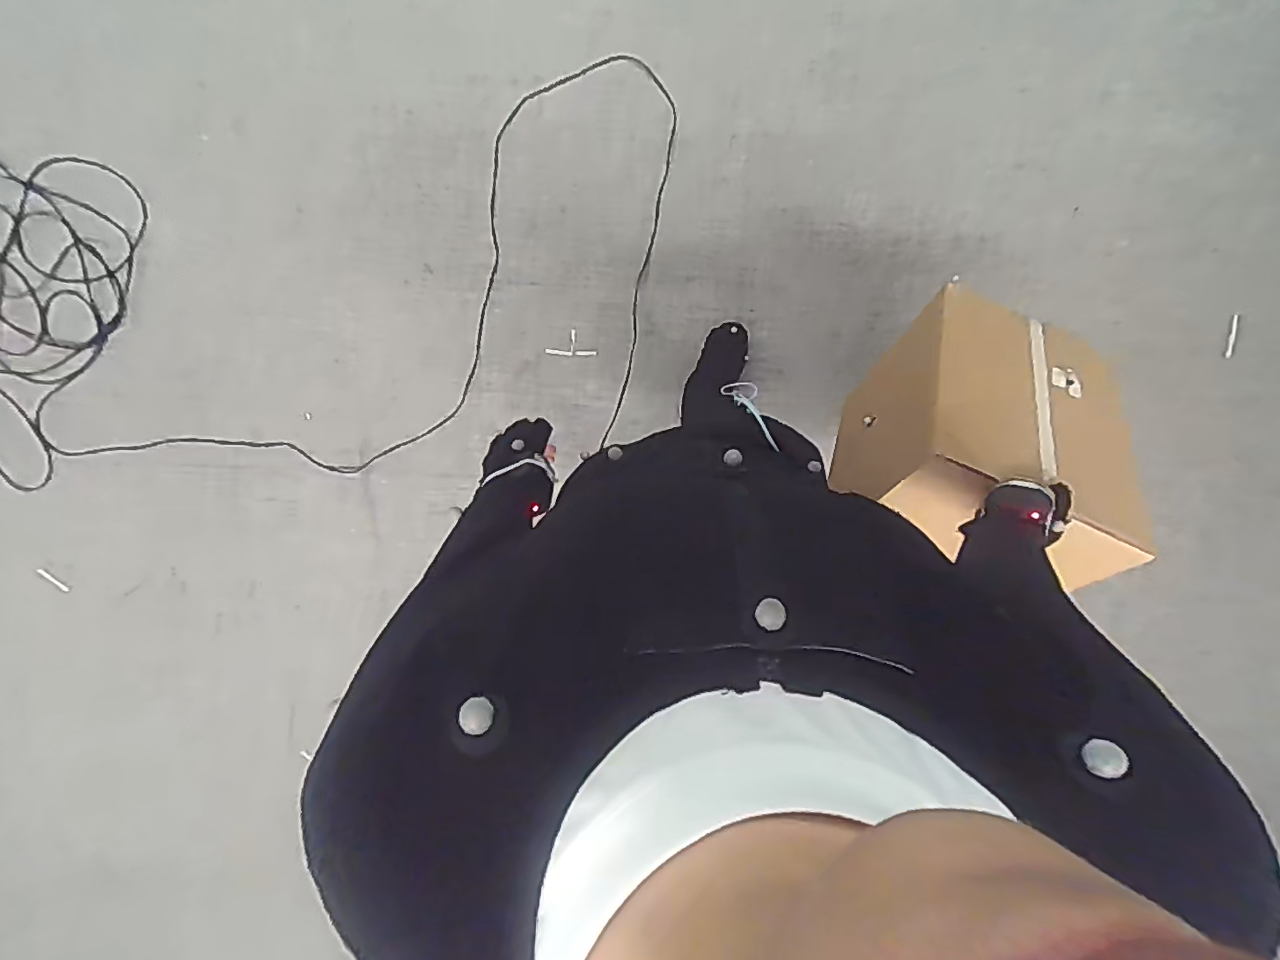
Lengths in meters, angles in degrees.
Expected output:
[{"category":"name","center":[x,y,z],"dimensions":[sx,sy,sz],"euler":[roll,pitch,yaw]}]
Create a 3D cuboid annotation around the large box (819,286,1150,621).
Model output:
[{"category":"large box","center":[0.539,-0.038,0.916],"dimensions":[0.320,0.320,0.408],"euler":[25,55,0]}]
